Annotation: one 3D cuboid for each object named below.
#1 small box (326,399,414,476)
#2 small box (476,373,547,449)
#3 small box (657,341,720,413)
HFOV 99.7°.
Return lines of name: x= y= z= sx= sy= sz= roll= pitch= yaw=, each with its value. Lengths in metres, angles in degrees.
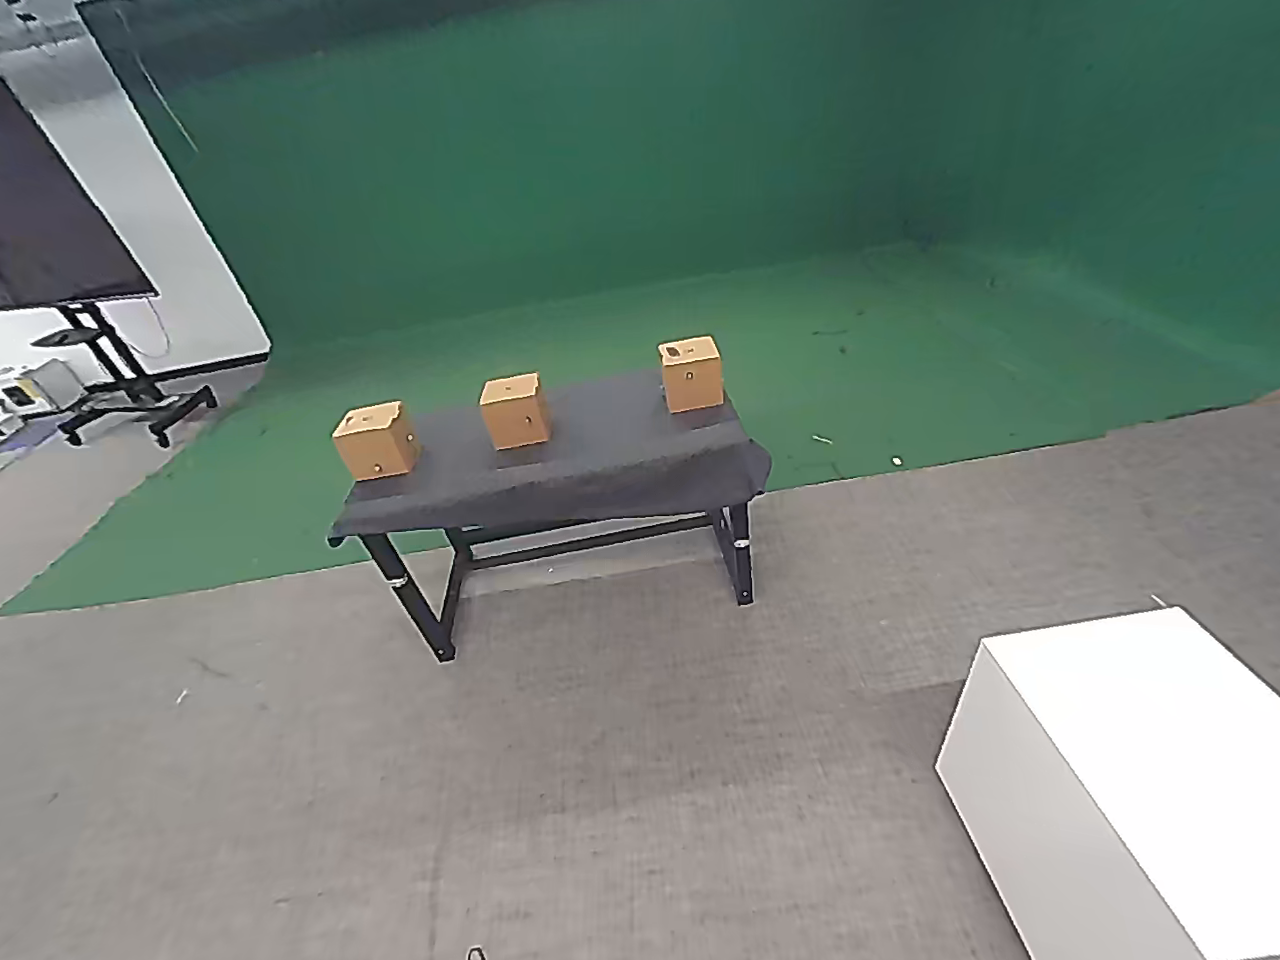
small box: x=-0.829 y=-0.131 z=1.684 sx=0.179 sy=0.176 sz=0.168 roll=-8 pitch=35 yaw=-1
small box: x=-0.399 y=-0.219 z=1.716 sx=0.179 sy=0.176 sz=0.168 roll=-10 pitch=35 yaw=0
small box: x=0.156 y=-0.327 z=1.737 sx=0.179 sy=0.176 sz=0.168 roll=-8 pitch=36 yaw=1
